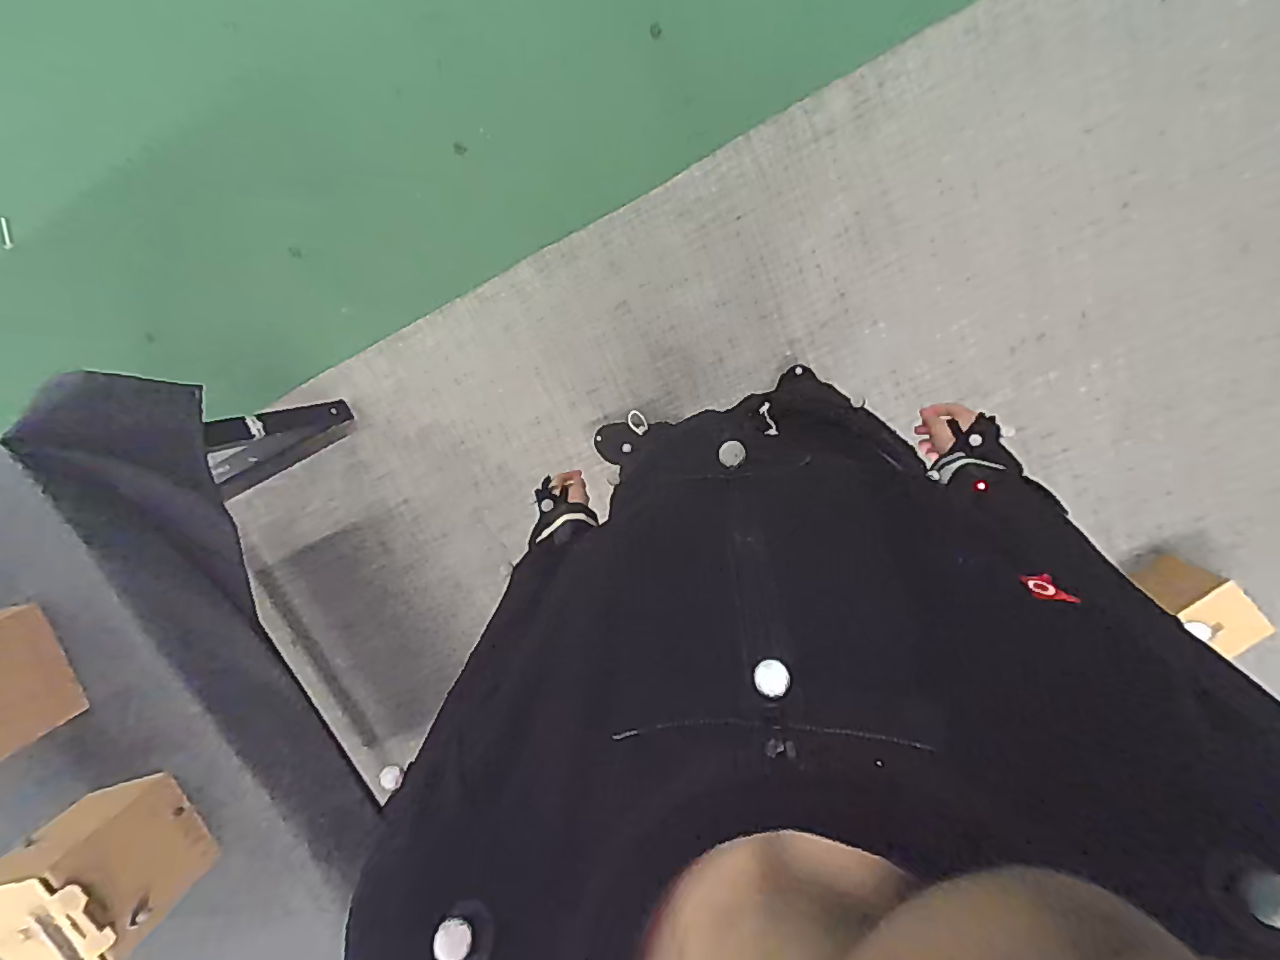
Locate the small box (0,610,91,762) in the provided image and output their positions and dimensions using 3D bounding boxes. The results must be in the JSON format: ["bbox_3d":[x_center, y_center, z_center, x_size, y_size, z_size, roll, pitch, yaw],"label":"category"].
[{"bbox_3d":[-0.923,0.290,0.729,0.168,0.176,0.179,-10,104,10],"label":"small box"}]

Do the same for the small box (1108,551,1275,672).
[{"bbox_3d":[1.261,0.296,1.253,0.168,0.176,0.179,44,105,-6],"label":"small box"}]
